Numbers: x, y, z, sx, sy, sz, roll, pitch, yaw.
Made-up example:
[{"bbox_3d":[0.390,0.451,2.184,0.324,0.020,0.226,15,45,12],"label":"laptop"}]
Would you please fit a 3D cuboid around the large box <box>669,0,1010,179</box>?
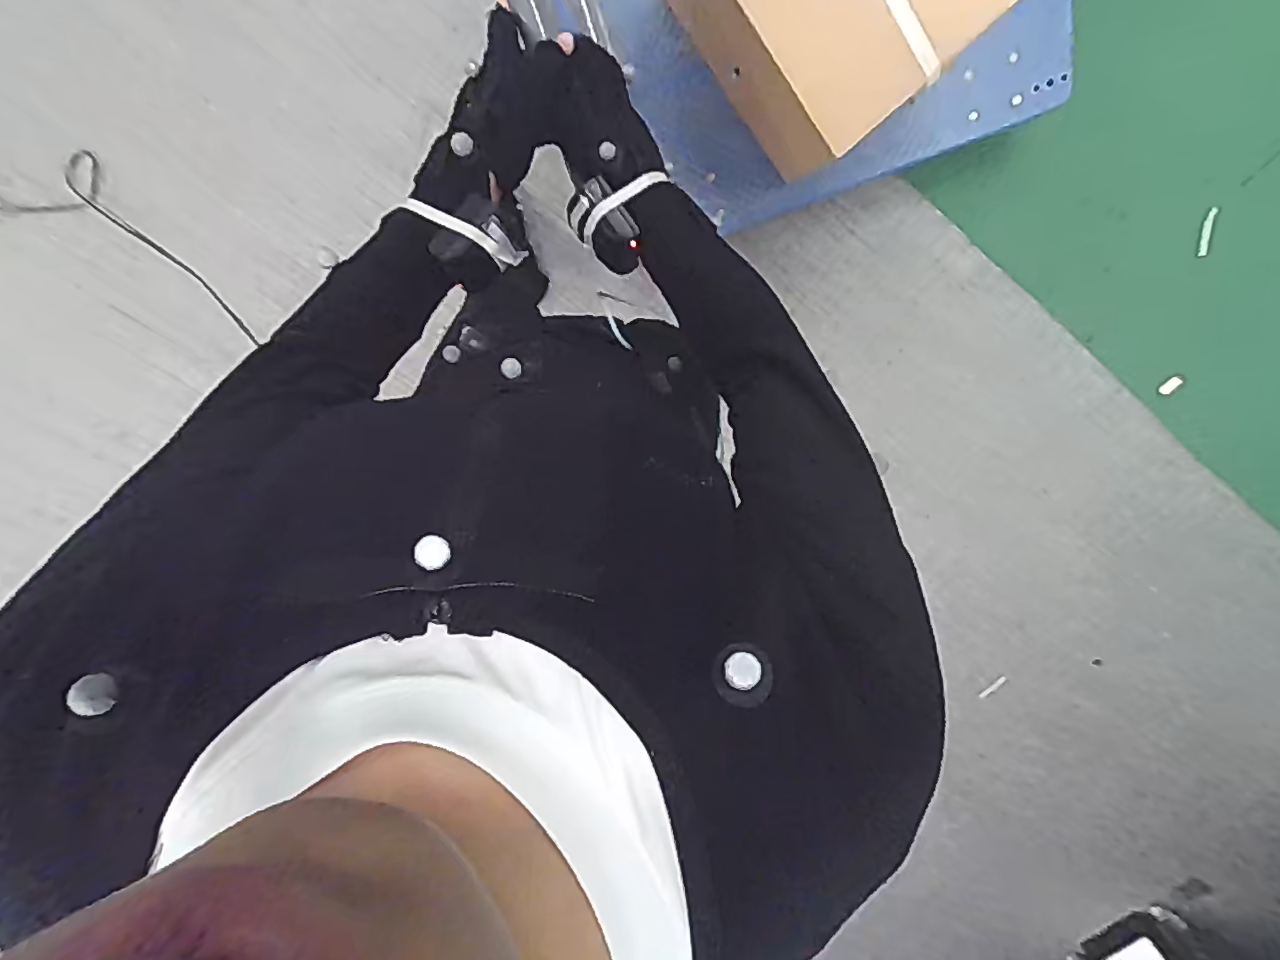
[{"bbox_3d":[0.274,-0.762,0.842,0.320,0.320,0.408,-37,107,15],"label":"large box"}]
